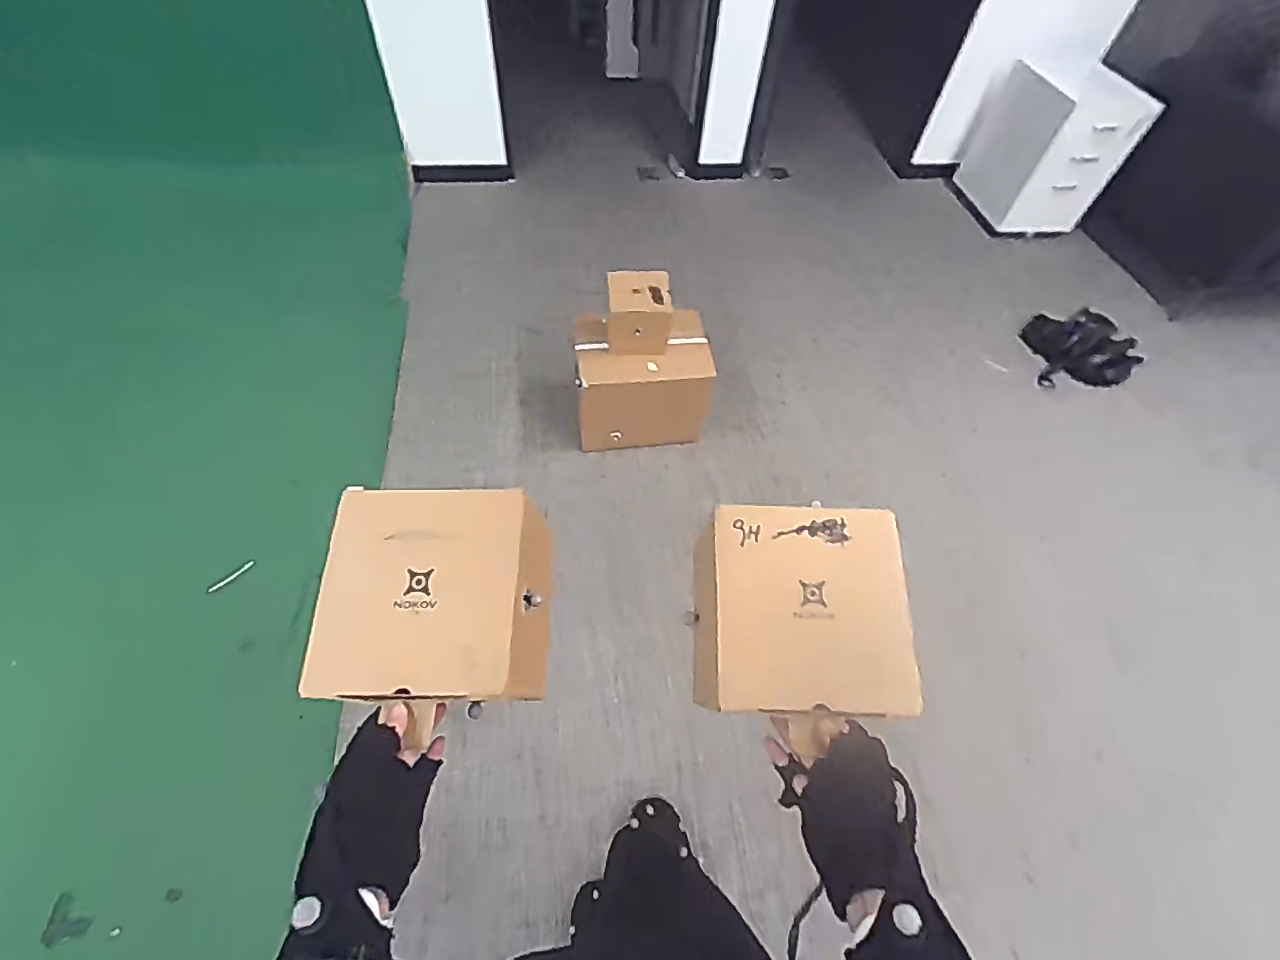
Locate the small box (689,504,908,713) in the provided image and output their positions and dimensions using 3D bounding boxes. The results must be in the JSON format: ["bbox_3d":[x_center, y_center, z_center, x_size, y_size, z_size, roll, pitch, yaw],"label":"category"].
[{"bbox_3d":[0.141,0.133,0.547,0.168,0.176,0.179,2,70,-1],"label":"small box"}]

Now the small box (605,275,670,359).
[{"bbox_3d":[-0.012,-0.474,1.588,0.179,0.176,0.168,1,59,-5],"label":"small box"}]

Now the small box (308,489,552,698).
[{"bbox_3d":[-0.183,0.120,0.534,0.168,0.176,0.179,-1,67,0],"label":"small box"}]
